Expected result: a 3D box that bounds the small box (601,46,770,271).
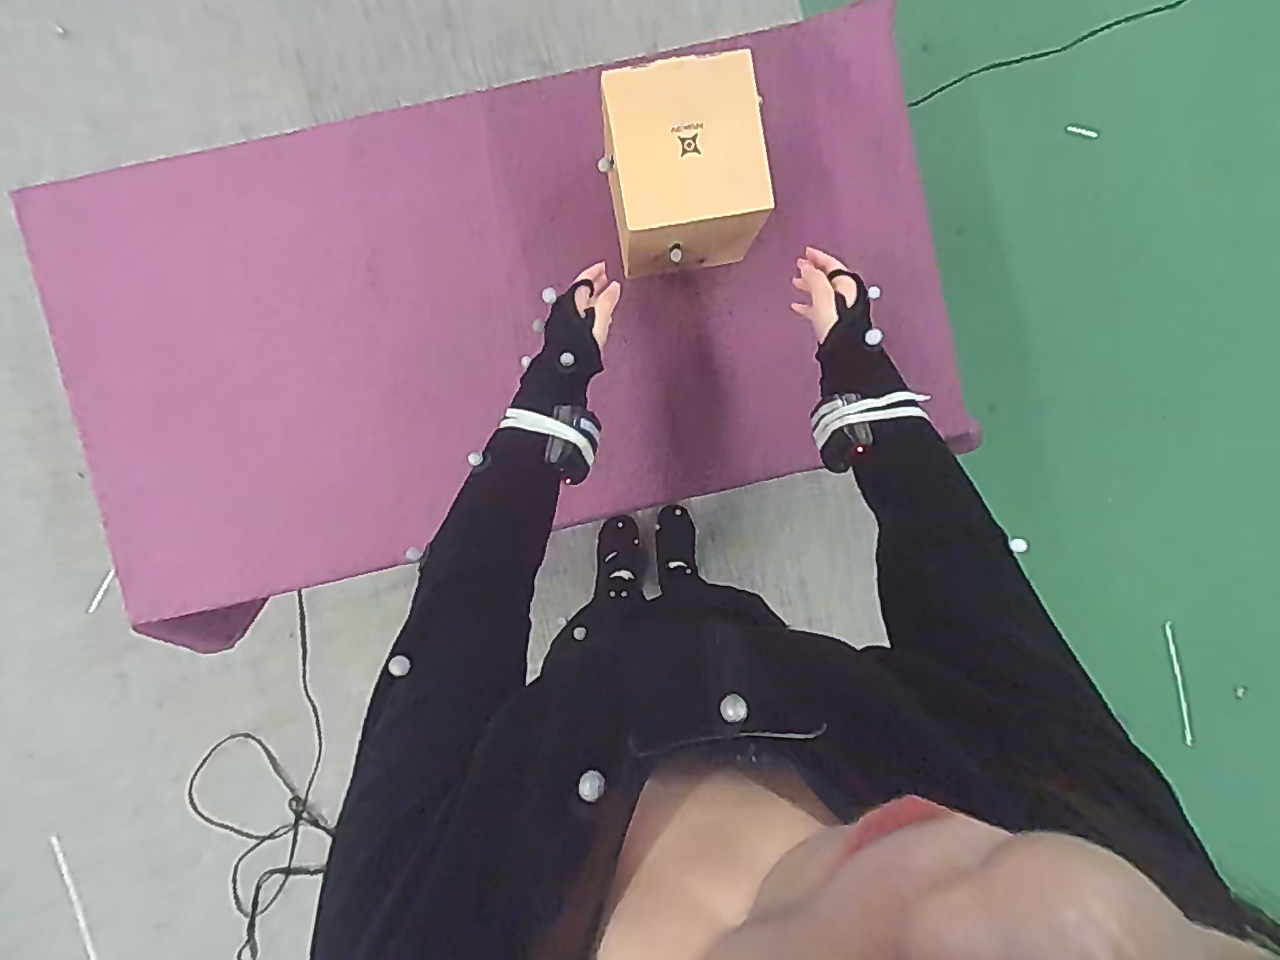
[{"bbox_3d":[0.050,-0.374,0.666,0.168,0.176,0.179,-10,92,0],"label":"small box"}]
